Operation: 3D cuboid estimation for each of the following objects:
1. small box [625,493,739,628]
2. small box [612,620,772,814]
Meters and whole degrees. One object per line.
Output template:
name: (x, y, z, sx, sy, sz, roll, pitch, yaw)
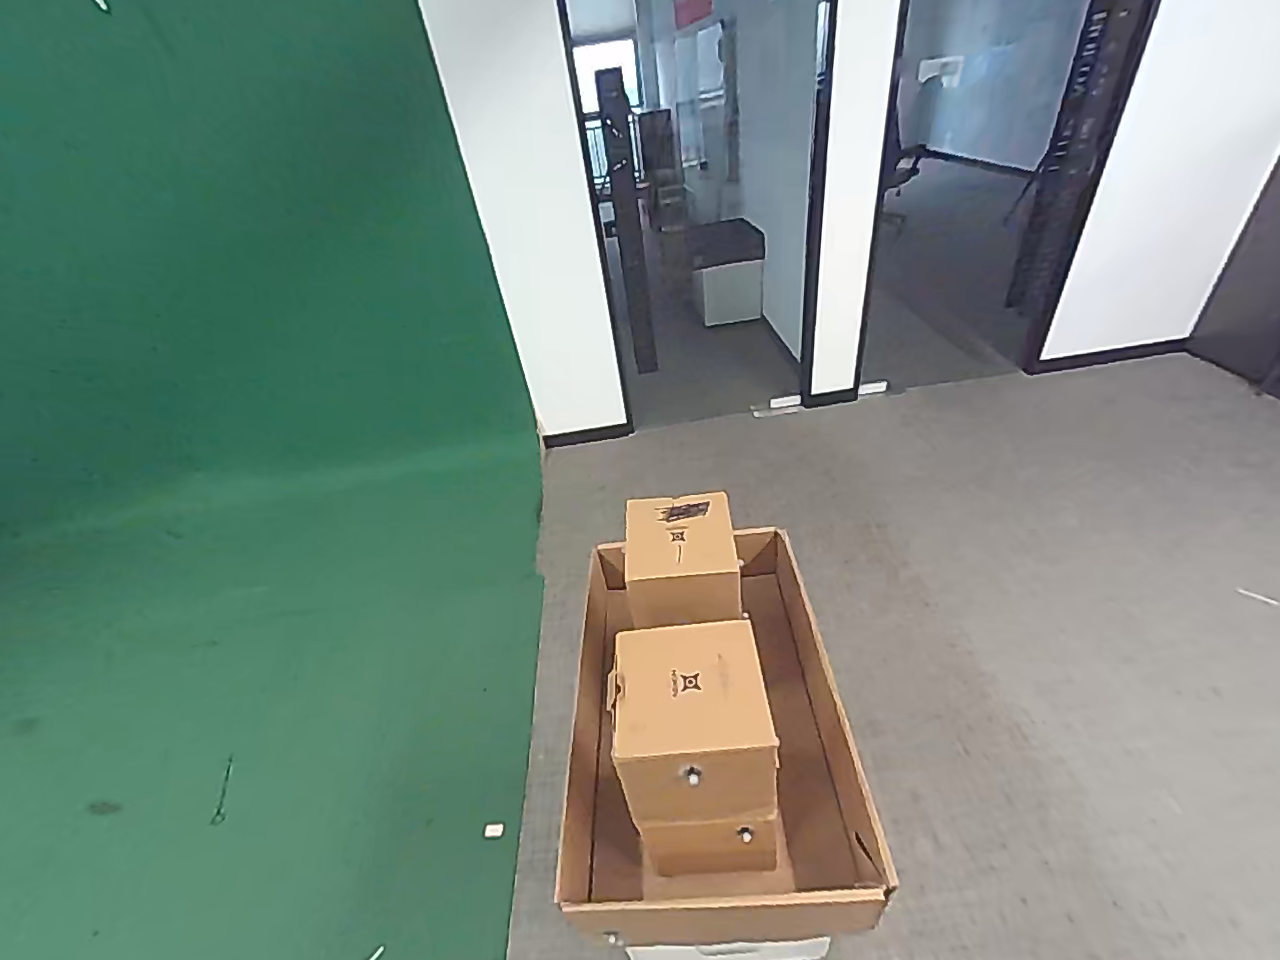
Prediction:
small box: (0.070, 0.143, 0.884, 0.168, 0.176, 0.179, -4, 40, 5)
small box: (0.065, 0.301, 0.685, 0.179, 0.176, 0.168, -6, 37, 3)
